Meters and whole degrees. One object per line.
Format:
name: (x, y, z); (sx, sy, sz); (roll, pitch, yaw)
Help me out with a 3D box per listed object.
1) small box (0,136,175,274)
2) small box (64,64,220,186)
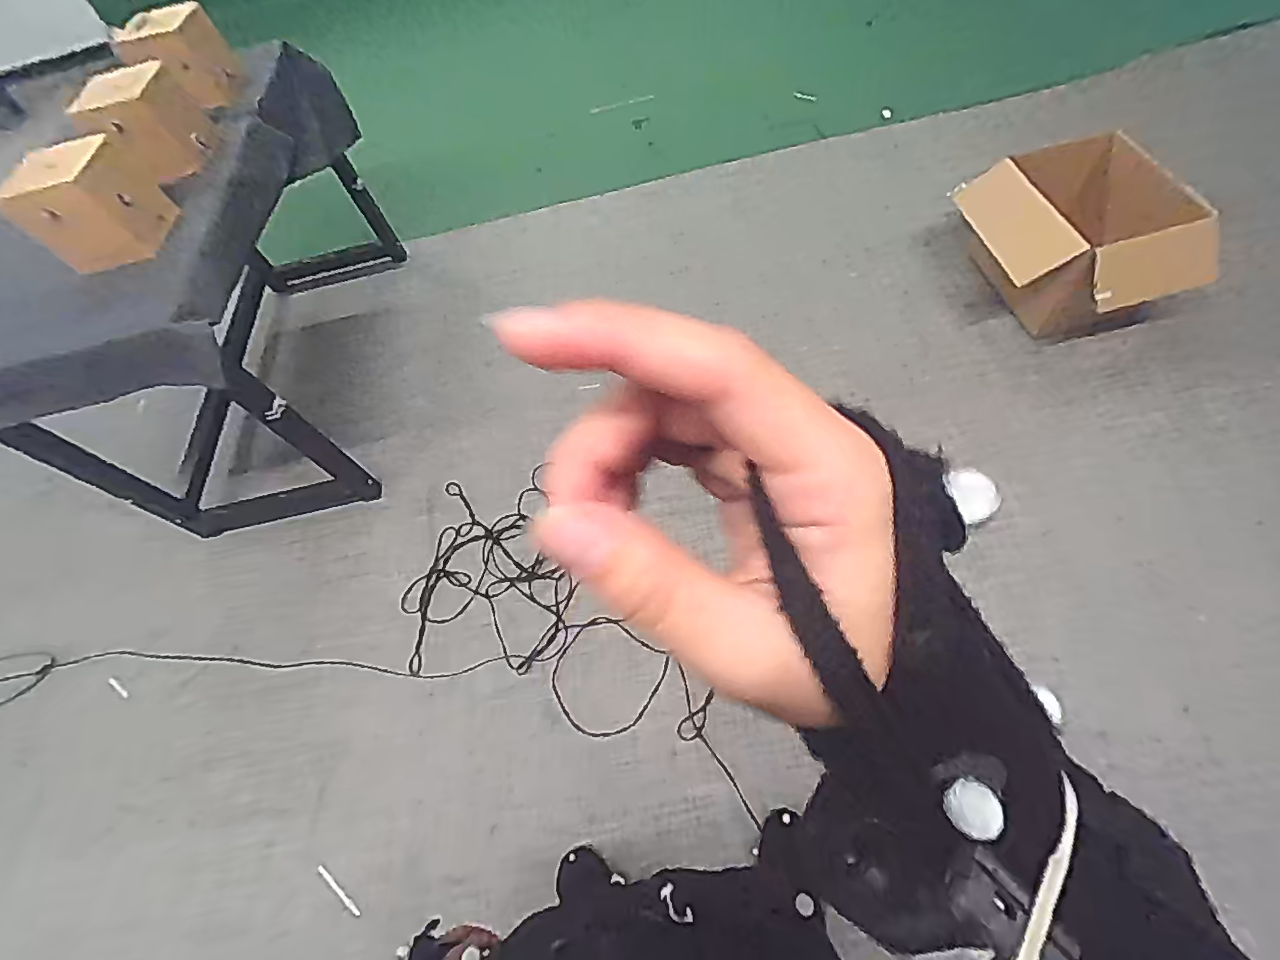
small box: (-1.100, -0.545, 1.086); (0.179, 0.176, 0.168); (-11, 59, 5)
small box: (-1.129, -0.806, 1.242); (0.179, 0.176, 0.168); (-10, 60, 3)
